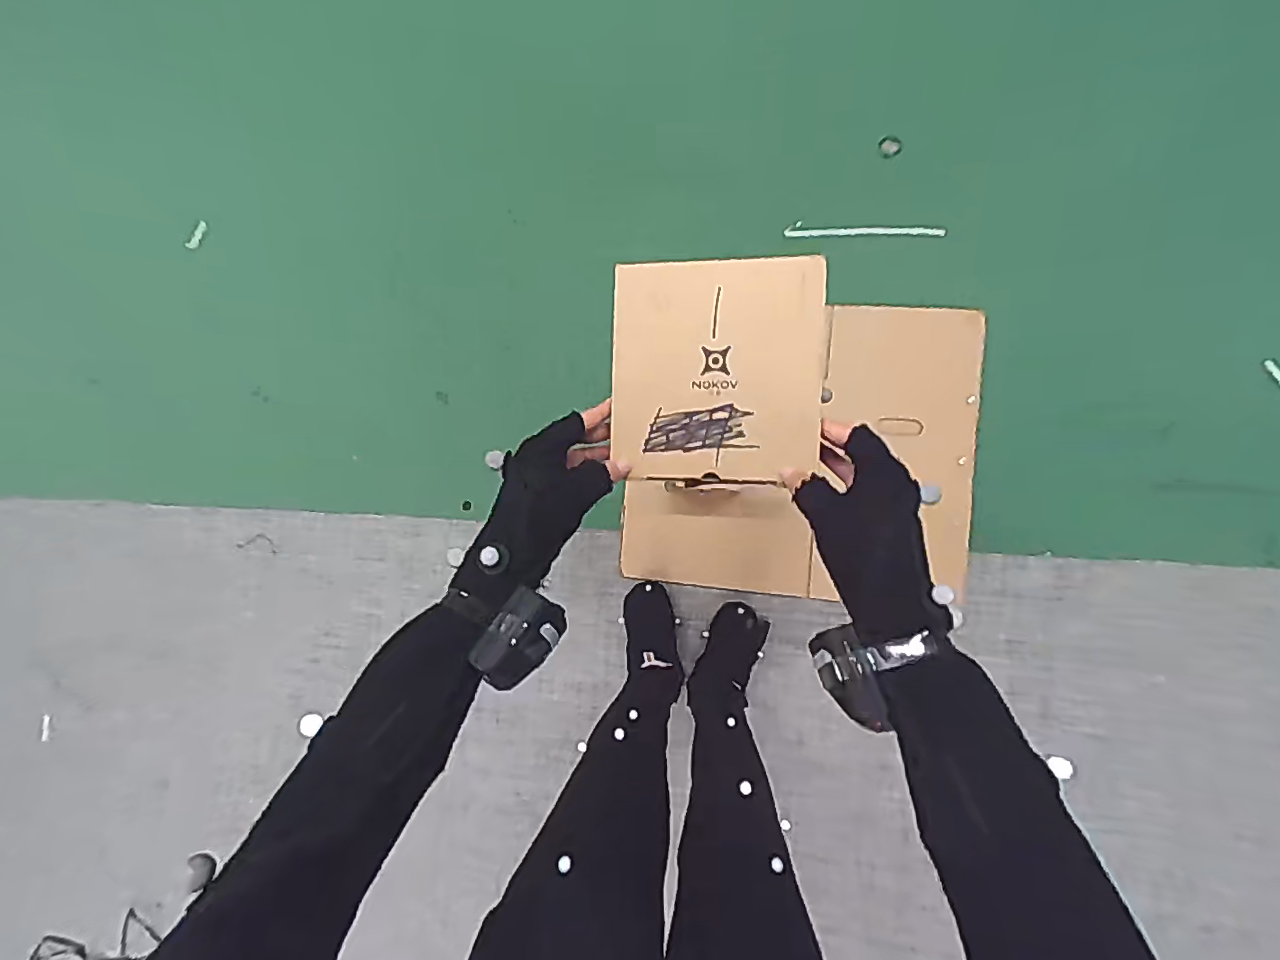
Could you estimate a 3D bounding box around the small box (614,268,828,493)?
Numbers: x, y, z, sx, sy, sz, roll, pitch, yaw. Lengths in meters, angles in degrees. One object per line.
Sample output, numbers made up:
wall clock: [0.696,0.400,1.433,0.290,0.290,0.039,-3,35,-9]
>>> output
small box: [0.077,-0.082,0.511,0.168,0.176,0.179,2,91,11]
